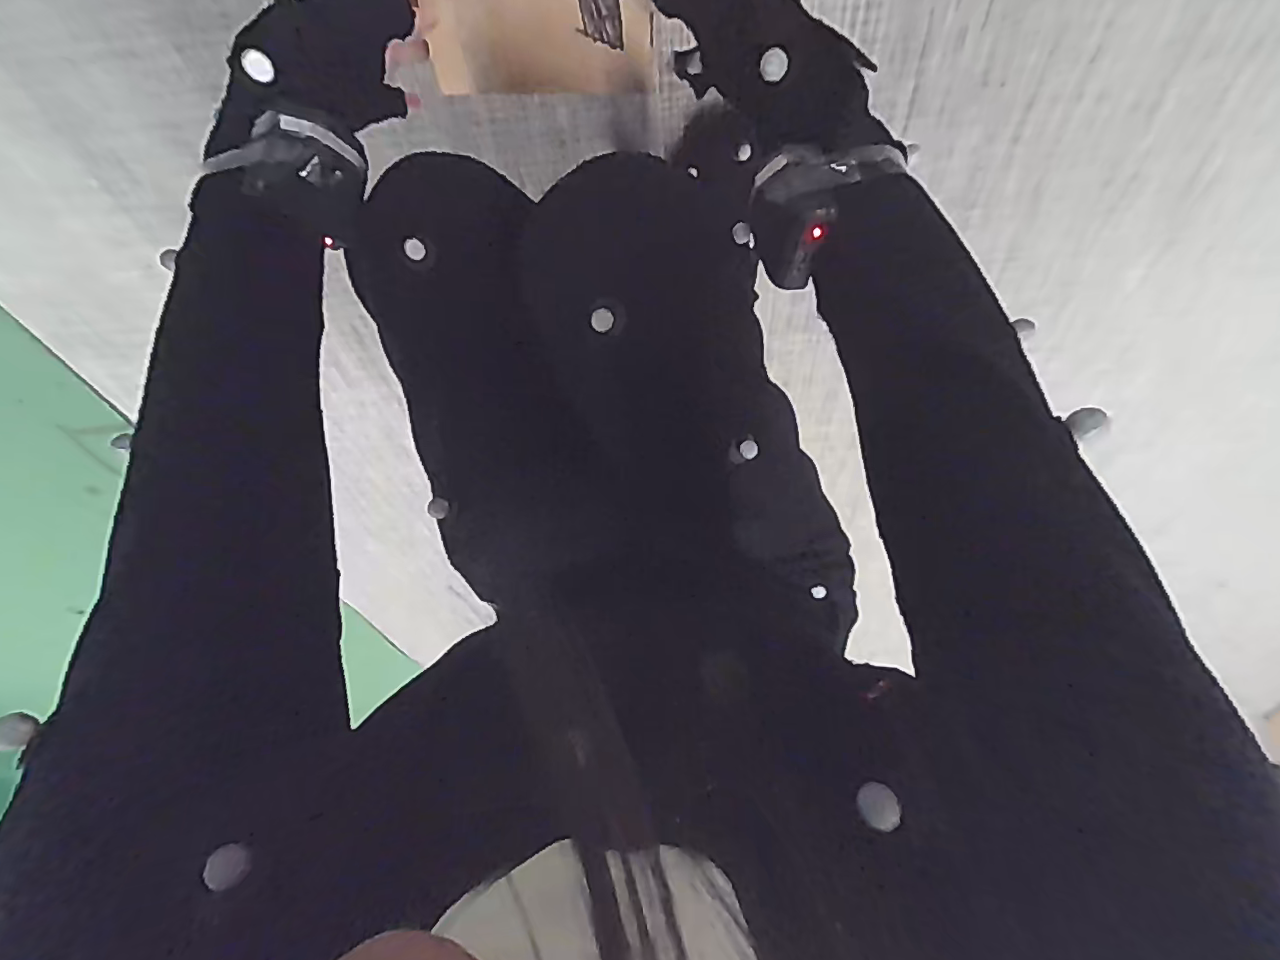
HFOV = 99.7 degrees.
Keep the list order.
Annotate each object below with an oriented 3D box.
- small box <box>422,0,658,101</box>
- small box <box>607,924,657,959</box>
[{"bbox_3d":[-0.072,-0.427,0.431,0.179,0.176,0.168,2,141,3],"label":"small box"},{"bbox_3d":[-0.029,1.813,2.072,0.179,0.176,0.168,-5,143,7],"label":"small box"}]
